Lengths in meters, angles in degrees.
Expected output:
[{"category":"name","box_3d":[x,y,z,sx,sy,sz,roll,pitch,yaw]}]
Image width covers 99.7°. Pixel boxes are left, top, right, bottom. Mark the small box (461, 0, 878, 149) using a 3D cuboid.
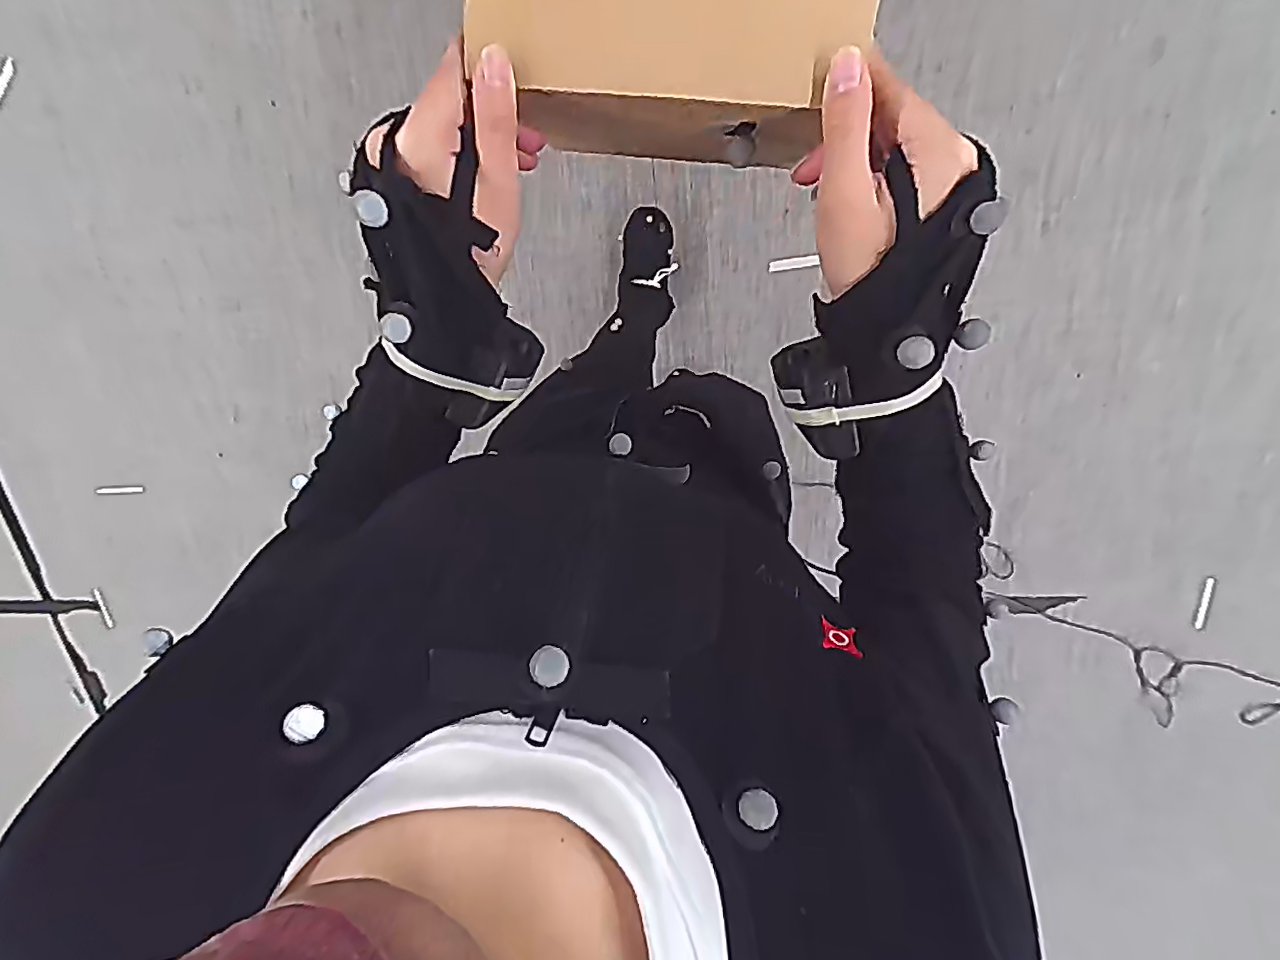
[{"category":"small box","box_3d":[0.022,-0.281,0.276,0.179,0.176,0.168,7,113,3]}]
